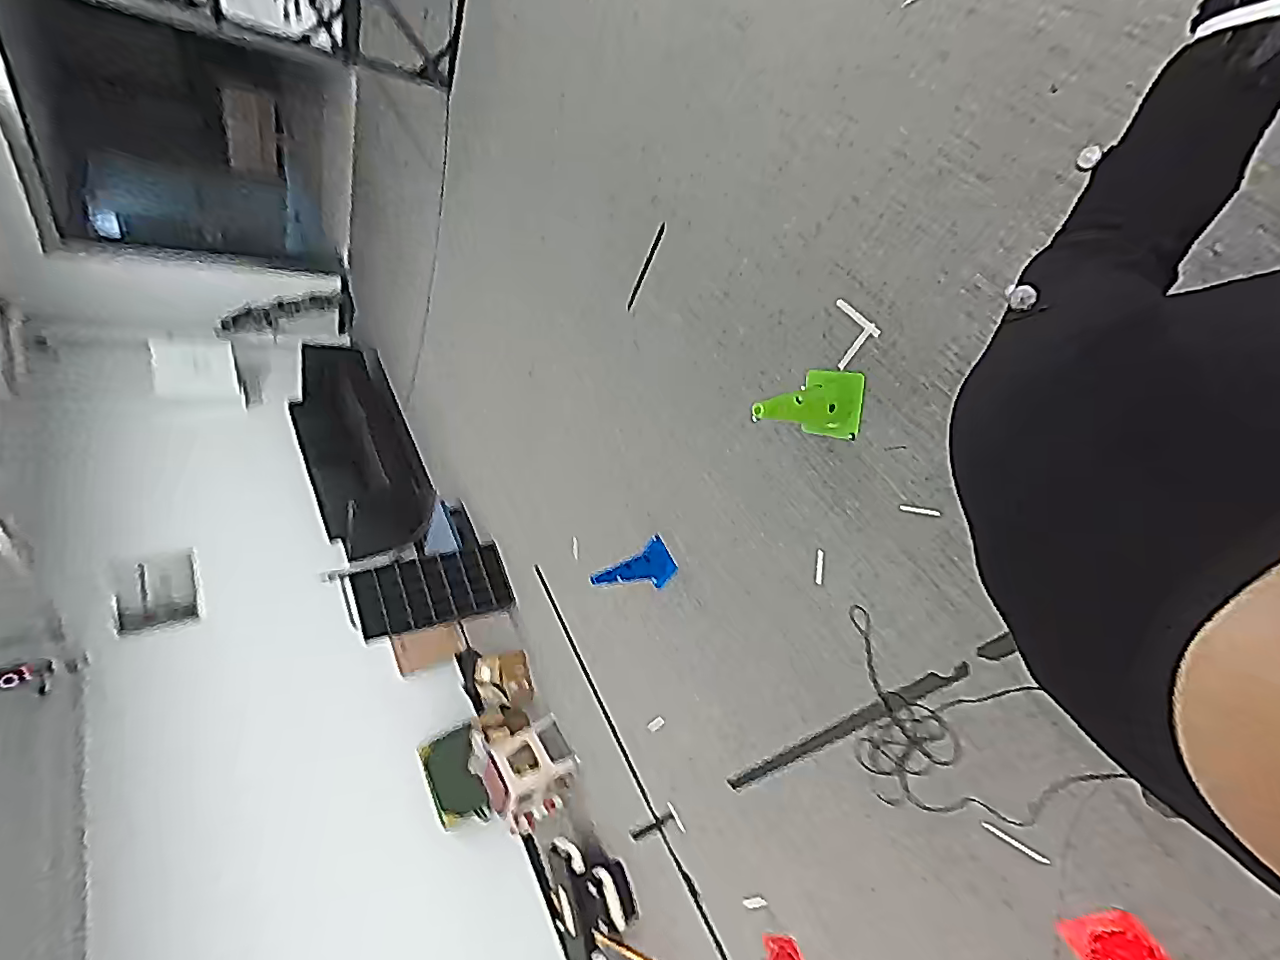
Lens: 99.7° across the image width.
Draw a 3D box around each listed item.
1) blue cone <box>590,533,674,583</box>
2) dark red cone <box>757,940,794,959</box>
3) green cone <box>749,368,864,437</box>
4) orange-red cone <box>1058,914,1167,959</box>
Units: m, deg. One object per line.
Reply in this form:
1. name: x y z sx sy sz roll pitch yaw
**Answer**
1. blue cone: -0.050 0.382 2.380 0.192 0.380 0.193 61 138 25
2. dark red cone: 0.433 1.940 2.021 0.202 0.394 0.201 -52 56 44
3. green cone: 0.455 -0.223 1.567 0.202 0.368 0.200 19 111 51
4. orange-red cone: 1.003 1.154 1.156 0.198 0.360 0.199 55 134 28
